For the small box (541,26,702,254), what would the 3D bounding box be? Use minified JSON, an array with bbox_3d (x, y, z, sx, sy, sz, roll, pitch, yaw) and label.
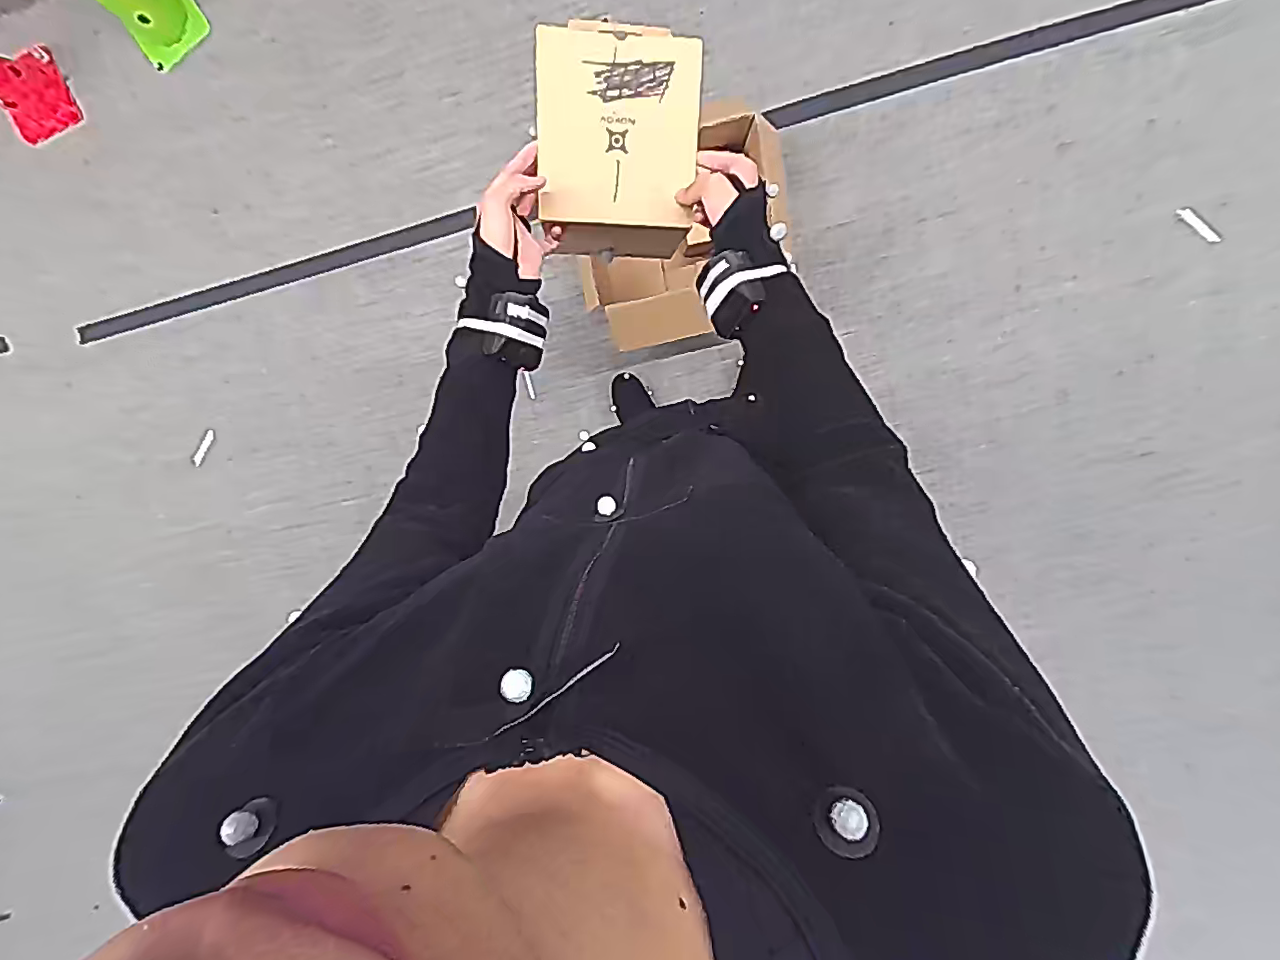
[{"bbox_3d":[-0.028,-0.378,0.634,0.168,0.176,0.179,0,103,-5],"label":"small box"}]
